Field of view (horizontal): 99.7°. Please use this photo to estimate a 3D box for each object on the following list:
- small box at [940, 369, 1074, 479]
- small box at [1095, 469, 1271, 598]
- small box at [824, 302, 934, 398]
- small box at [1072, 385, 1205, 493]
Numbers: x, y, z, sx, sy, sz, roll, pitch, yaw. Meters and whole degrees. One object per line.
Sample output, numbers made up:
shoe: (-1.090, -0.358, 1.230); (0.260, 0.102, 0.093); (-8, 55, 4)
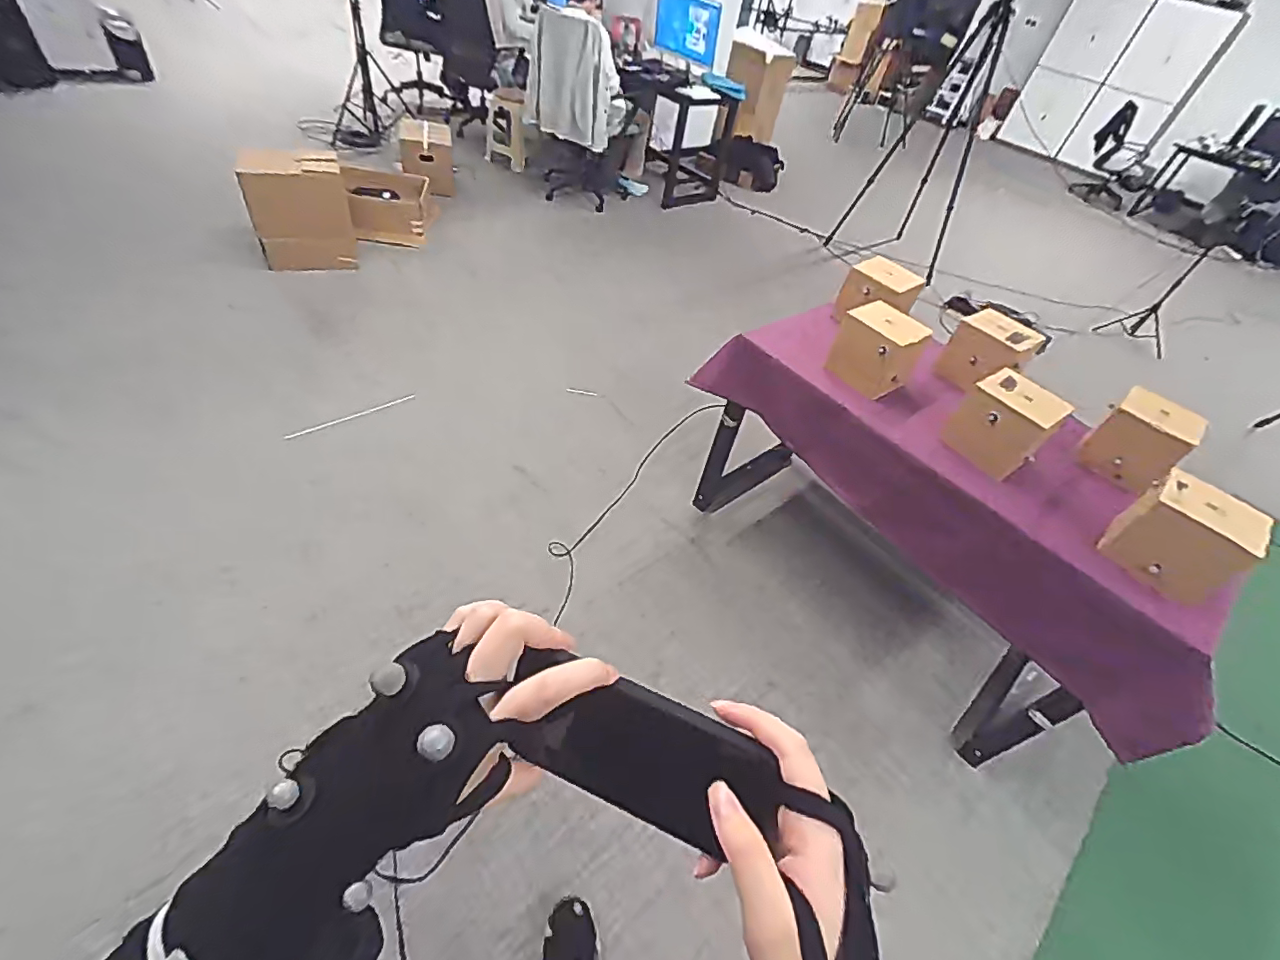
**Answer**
small box: (0.864, -0.134, 1.290); (0.168, 0.176, 0.179); (-24, 57, -31)
small box: (1.096, 0.116, 1.101); (0.168, 0.176, 0.179); (-27, 58, -33)
small box: (0.628, -0.348, 1.443); (0.168, 0.176, 0.179); (-25, 58, -32)
small box: (1.225, -0.101, 1.337); (0.179, 0.176, 0.168); (-30, 58, -33)
